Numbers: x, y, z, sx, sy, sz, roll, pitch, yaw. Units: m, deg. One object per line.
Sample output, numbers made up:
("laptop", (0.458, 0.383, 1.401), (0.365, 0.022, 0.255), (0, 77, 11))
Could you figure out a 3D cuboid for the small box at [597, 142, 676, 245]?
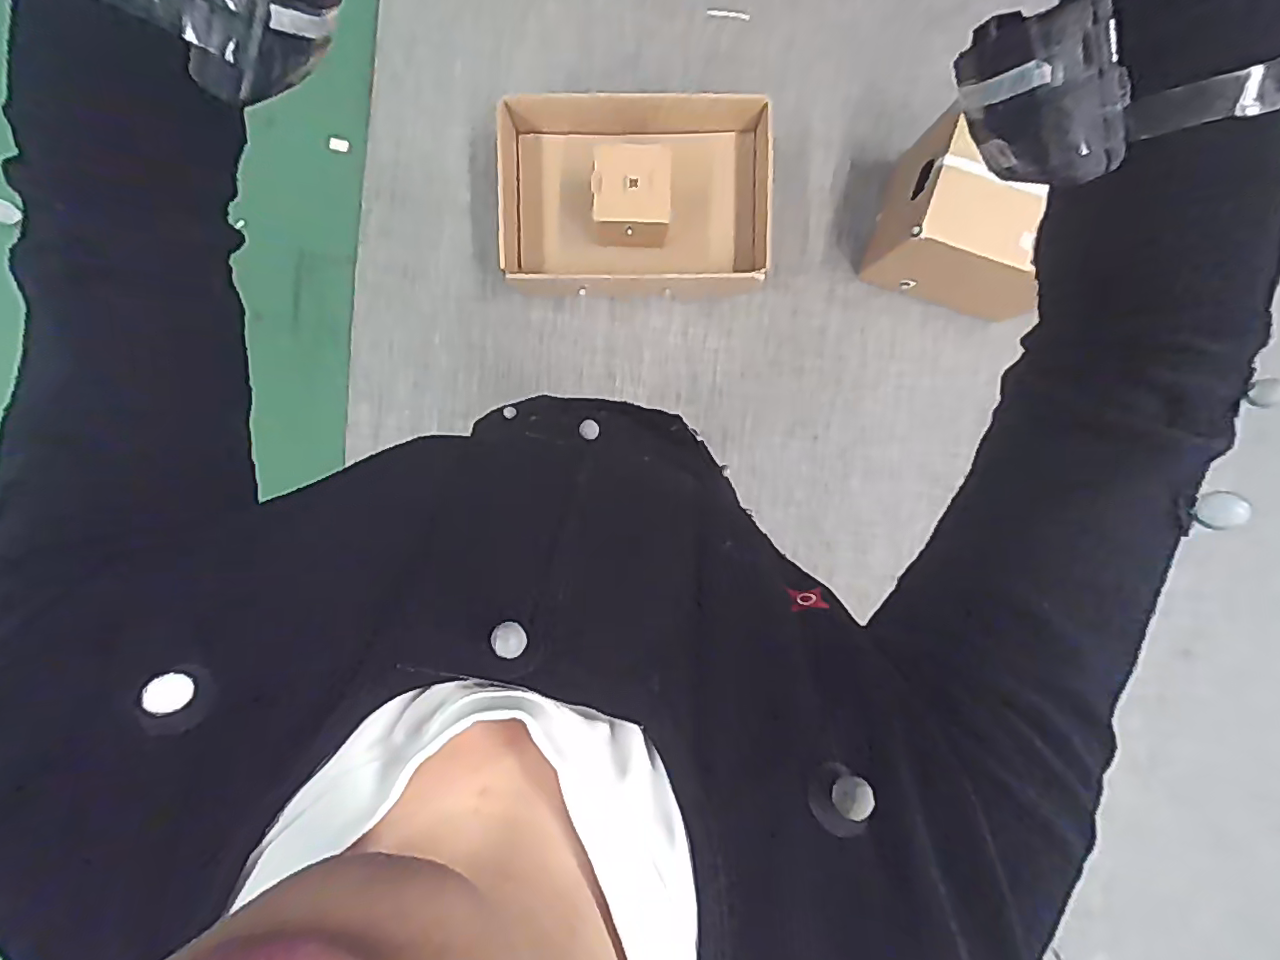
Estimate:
("small box", (-0.008, -0.668, 1.277), (0.179, 0.176, 0.168), (1, 96, -1))
